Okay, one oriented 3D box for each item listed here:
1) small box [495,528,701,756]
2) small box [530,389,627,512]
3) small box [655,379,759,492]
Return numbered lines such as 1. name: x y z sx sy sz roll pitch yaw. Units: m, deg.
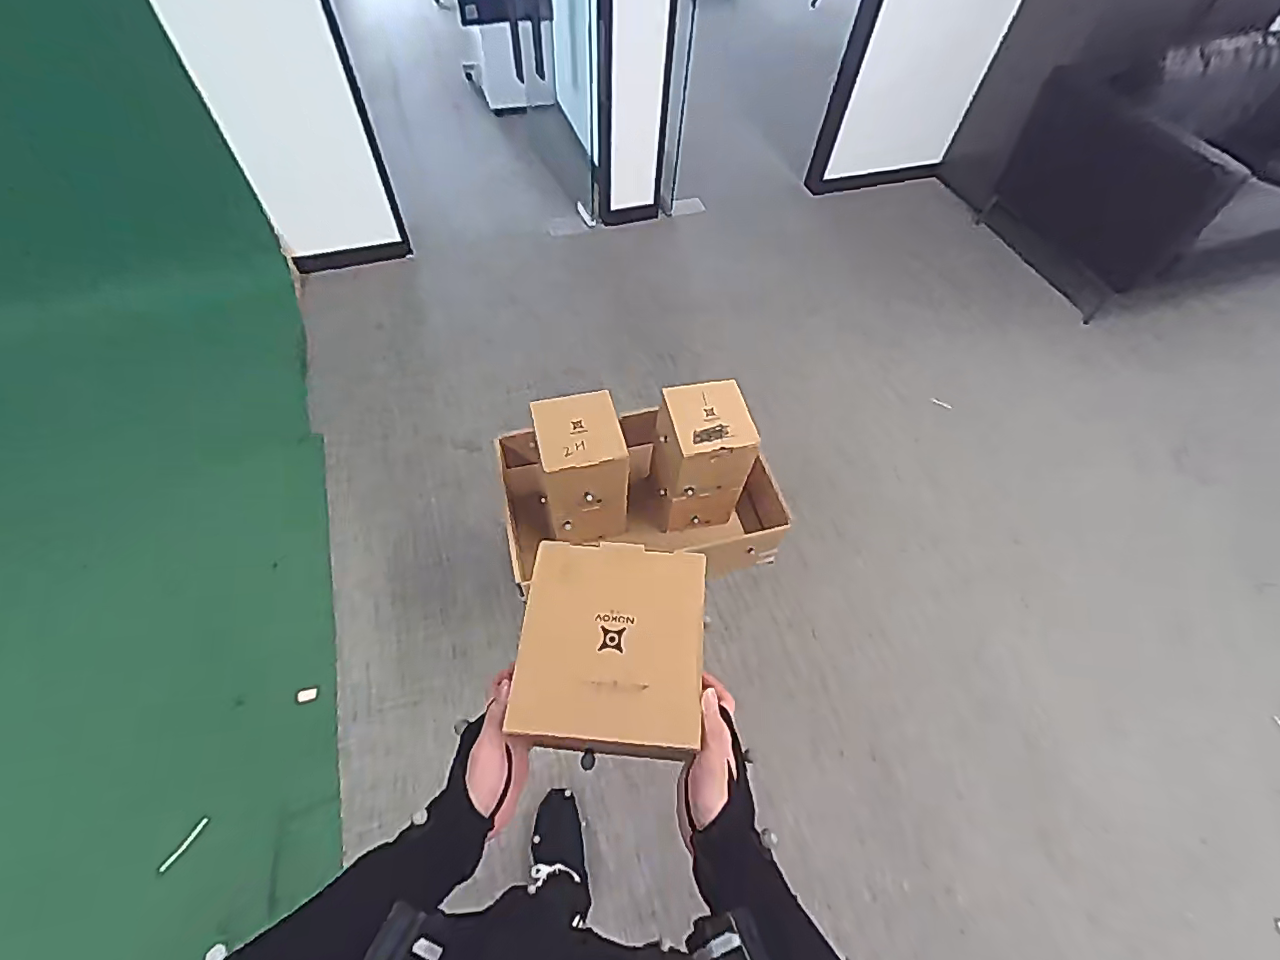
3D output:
1. small box: -0.032 0.169 0.548 0.168 0.176 0.179 5 59 2
2. small box: -0.128 -0.058 1.115 0.168 0.176 0.179 -11 58 -10
3. small box: 0.134 -0.088 1.156 0.168 0.176 0.179 -9 58 -10
